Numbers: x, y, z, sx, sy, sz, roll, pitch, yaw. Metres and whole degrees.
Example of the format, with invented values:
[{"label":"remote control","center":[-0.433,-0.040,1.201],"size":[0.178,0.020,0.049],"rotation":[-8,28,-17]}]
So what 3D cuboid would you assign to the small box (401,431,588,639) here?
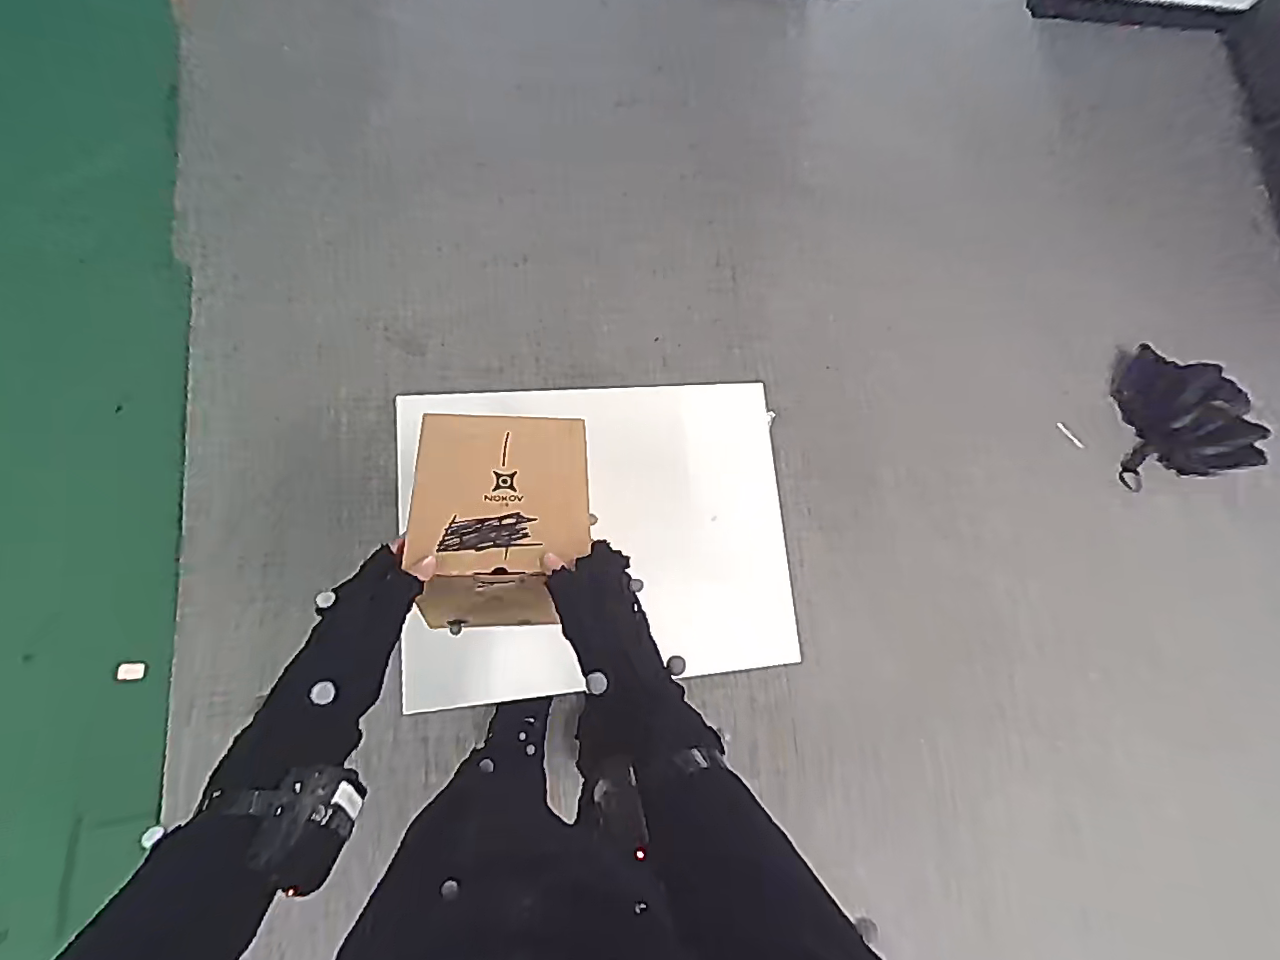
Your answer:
[{"label":"small box","center":[-0.144,0.067,0.587],"size":[0.168,0.176,0.179],"rotation":[1,56,-11]}]
